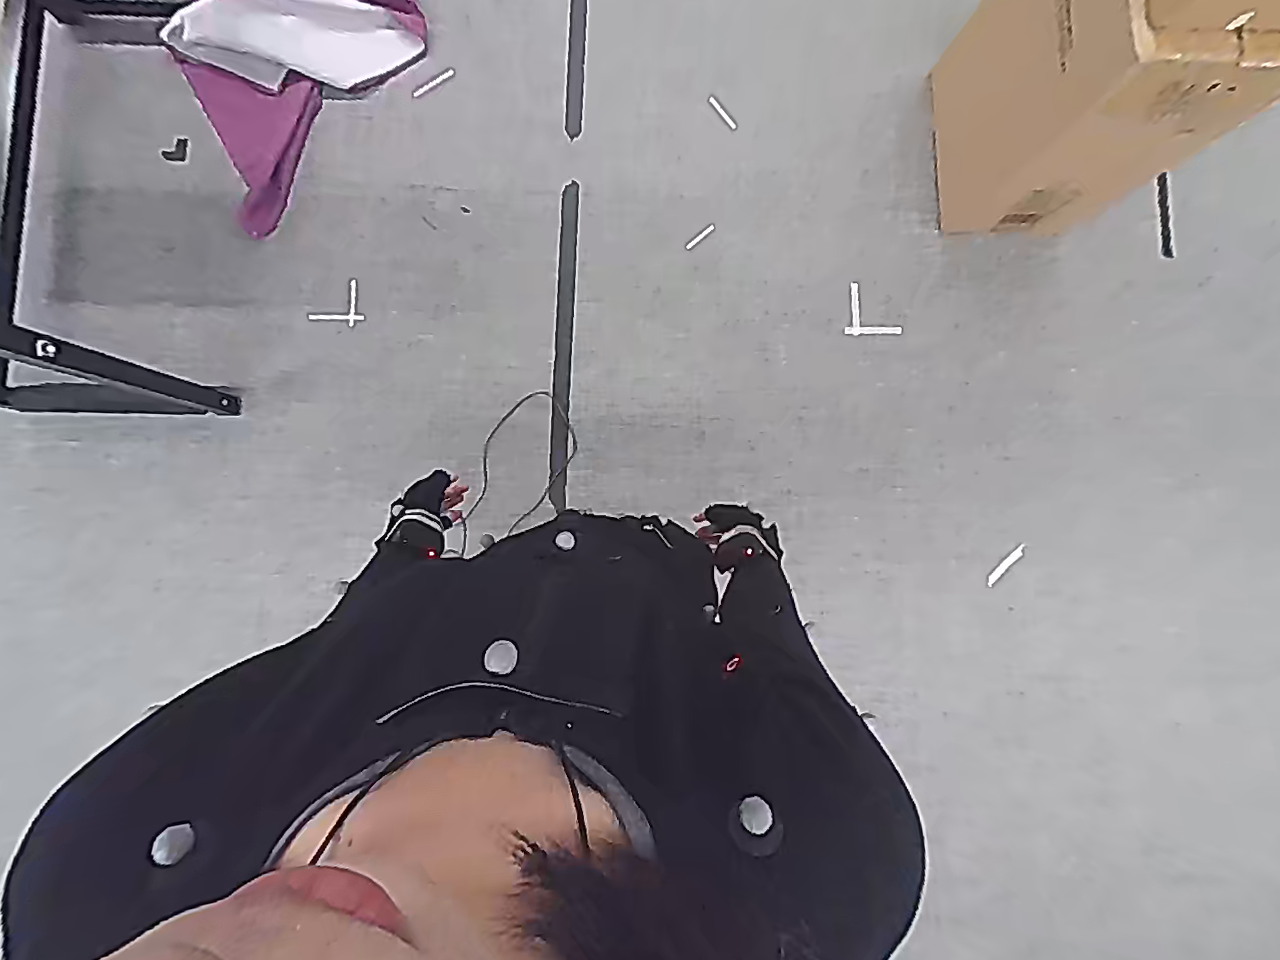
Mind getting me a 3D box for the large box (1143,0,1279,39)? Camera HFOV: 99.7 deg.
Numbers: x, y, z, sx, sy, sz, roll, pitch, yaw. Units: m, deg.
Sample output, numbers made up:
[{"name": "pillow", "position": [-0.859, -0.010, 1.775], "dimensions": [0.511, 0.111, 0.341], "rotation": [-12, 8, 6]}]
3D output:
[{"name": "large box", "position": [1.120, -1.064, 0.911], "dimensions": [0.320, 0.320, 0.408], "rotation": [-2, 86, -2]}]
